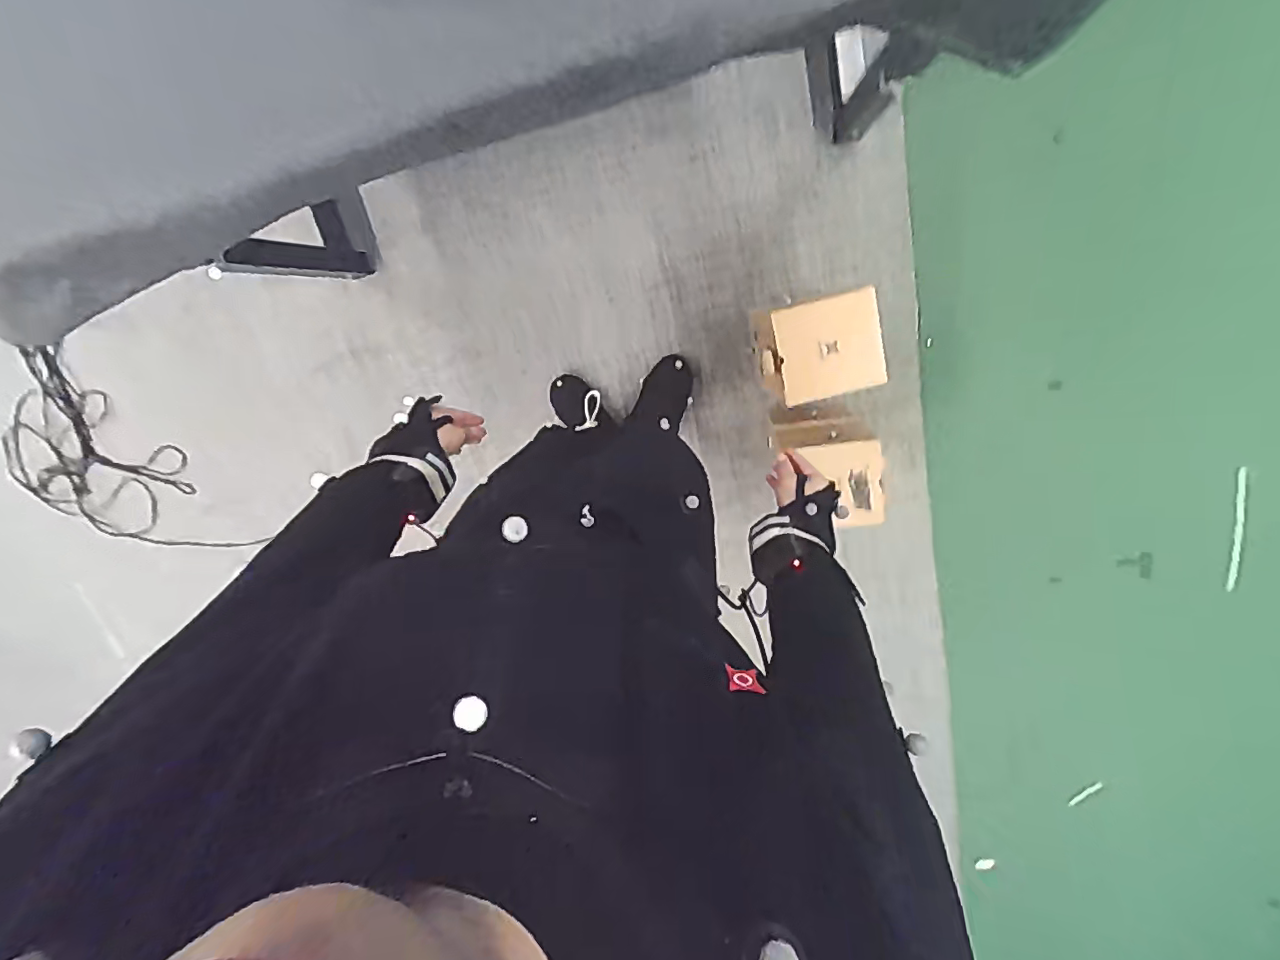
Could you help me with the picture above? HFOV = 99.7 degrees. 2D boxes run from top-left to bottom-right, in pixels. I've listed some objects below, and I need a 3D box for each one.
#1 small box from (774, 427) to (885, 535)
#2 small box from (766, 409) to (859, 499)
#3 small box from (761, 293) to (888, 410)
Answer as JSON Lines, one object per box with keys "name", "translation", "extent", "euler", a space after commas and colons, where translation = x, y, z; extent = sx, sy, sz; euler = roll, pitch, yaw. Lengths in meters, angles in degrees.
{"name": "small box", "translation": [0.369, -0.004, 1.071], "extent": [0.179, 0.176, 0.168], "euler": [-6, 106, 10]}
{"name": "small box", "translation": [0.388, -0.060, 1.225], "extent": [0.179, 0.176, 0.168], "euler": [-6, 106, 10]}
{"name": "small box", "translation": [0.333, -0.242, 0.999], "extent": [0.179, 0.176, 0.168], "euler": [-13, 106, 10]}
